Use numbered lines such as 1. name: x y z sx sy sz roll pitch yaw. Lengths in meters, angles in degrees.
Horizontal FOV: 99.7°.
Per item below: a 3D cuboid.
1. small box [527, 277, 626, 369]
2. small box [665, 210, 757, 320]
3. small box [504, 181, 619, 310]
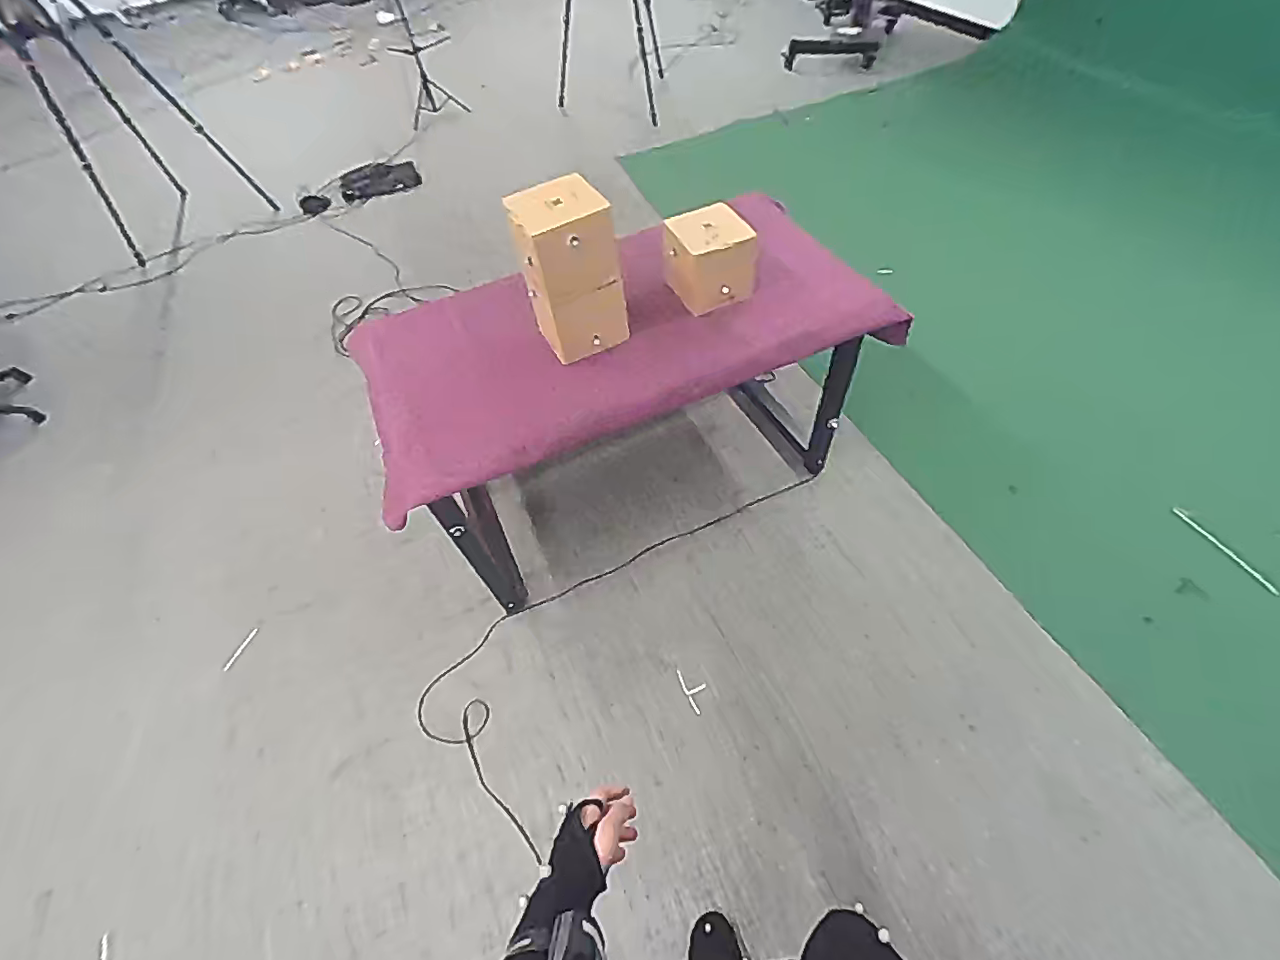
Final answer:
1. small box: -0.143 -0.396 1.274 0.179 0.176 0.168 -25 56 -13
2. small box: 0.169 -0.530 1.338 0.168 0.176 0.179 -21 55 -9
3. small box: -0.159 -0.490 1.141 0.179 0.176 0.168 -26 57 -12
